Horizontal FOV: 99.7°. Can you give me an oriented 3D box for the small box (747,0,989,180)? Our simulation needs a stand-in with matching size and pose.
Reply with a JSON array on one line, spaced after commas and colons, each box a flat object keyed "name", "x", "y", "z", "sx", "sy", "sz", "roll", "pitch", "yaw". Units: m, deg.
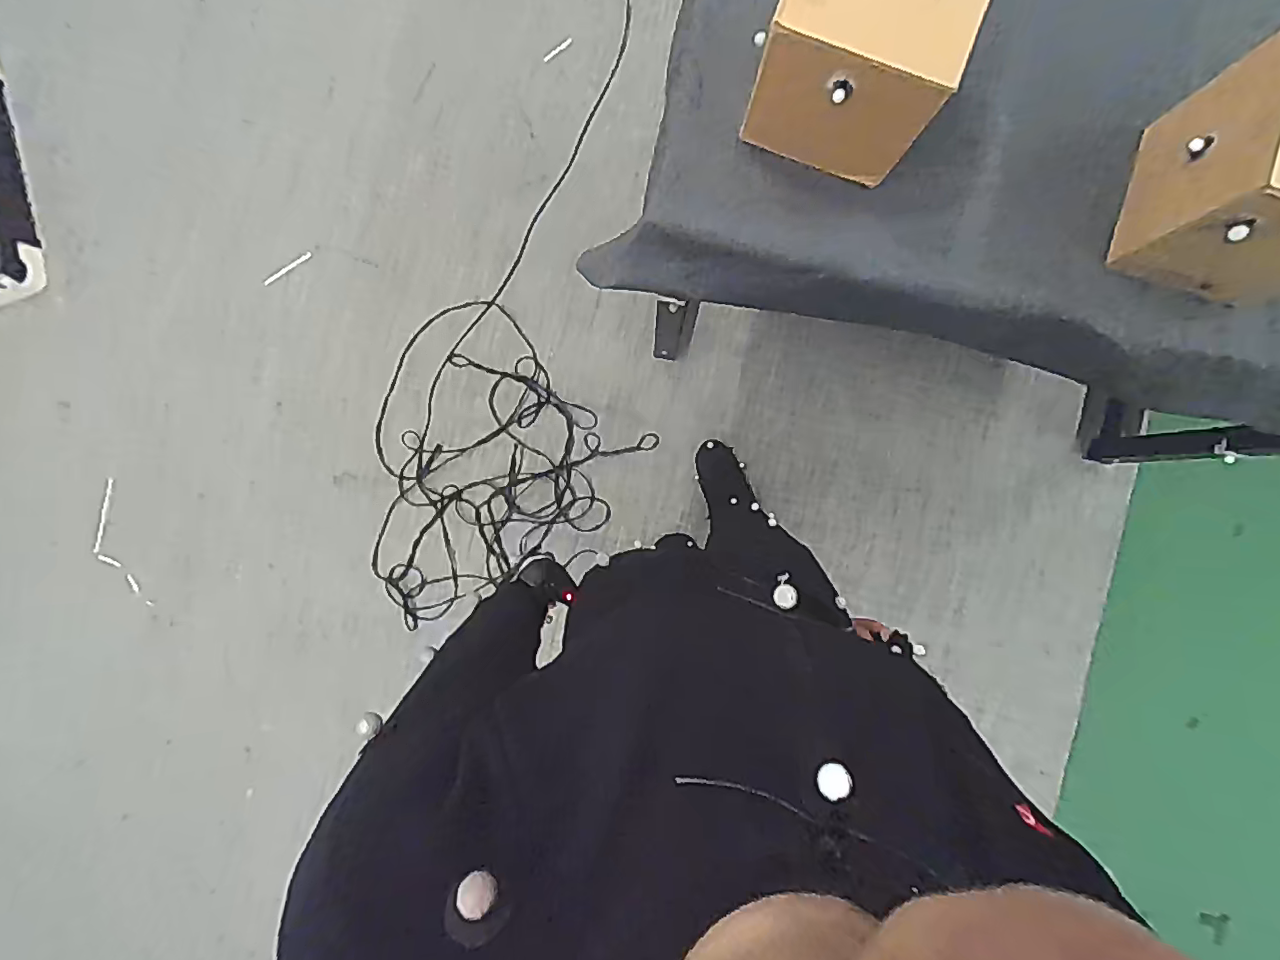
[{"name": "small box", "x": 0.226, "y": -0.449, "z": 0.558, "sx": 0.179, "sy": 0.176, "sz": 0.168, "roll": 20, "pitch": 90, "yaw": -1}]
